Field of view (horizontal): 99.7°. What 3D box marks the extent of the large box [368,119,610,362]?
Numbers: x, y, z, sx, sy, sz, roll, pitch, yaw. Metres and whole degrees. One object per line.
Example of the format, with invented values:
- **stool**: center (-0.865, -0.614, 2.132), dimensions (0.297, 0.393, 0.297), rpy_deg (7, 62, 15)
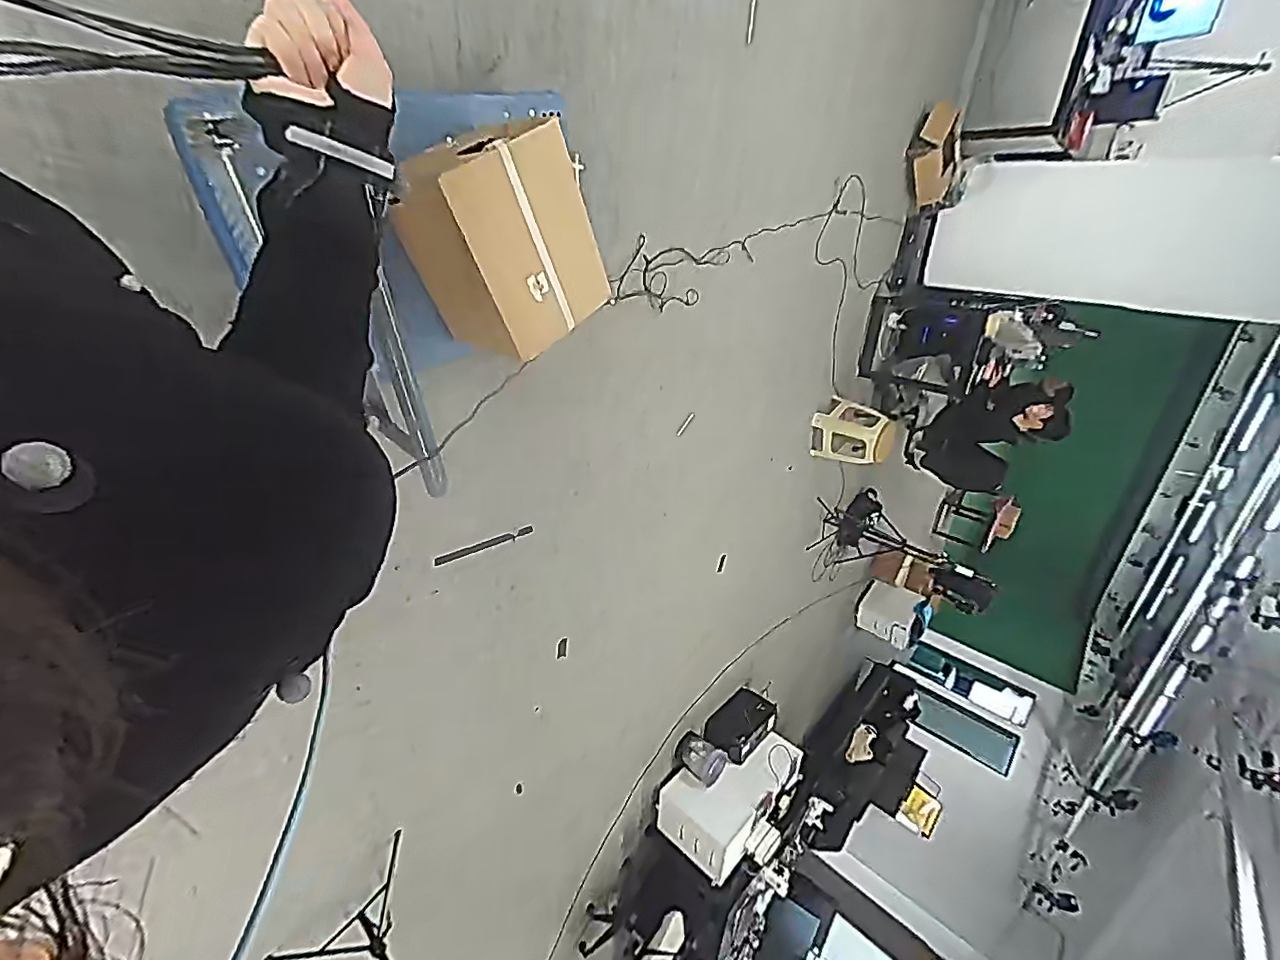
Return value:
- **large box**: center (-0.330, -0.549, 1.255), dimensions (0.320, 0.320, 0.408), rpy_deg (-45, 139, -24)
